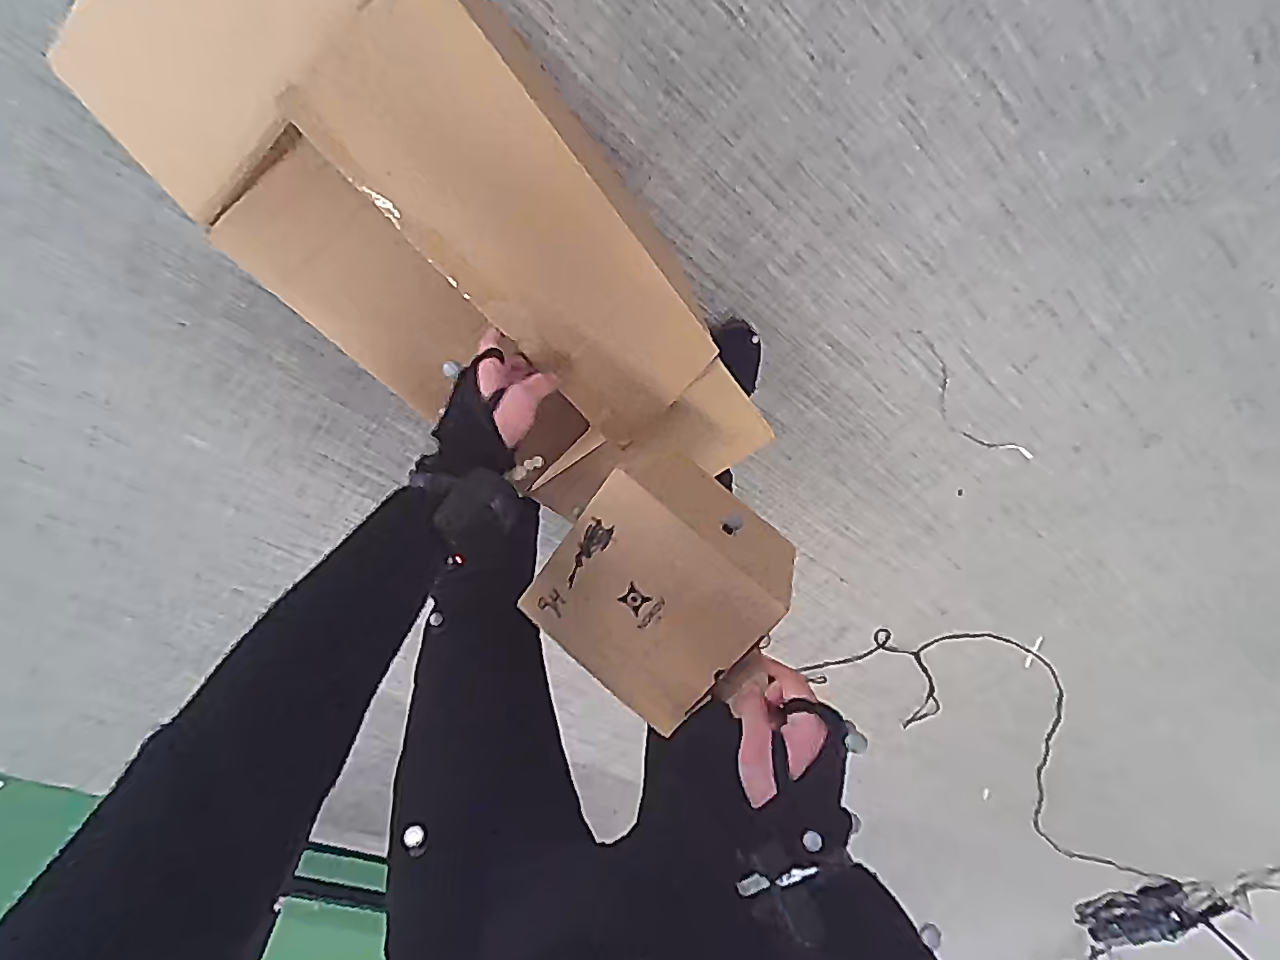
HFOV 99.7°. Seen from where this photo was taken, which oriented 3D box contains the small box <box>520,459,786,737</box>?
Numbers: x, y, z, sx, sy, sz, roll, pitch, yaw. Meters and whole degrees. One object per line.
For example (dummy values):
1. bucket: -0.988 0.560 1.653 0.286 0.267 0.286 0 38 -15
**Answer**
1. small box: 0.025 0.096 0.527 0.179 0.176 0.168 37 109 9
